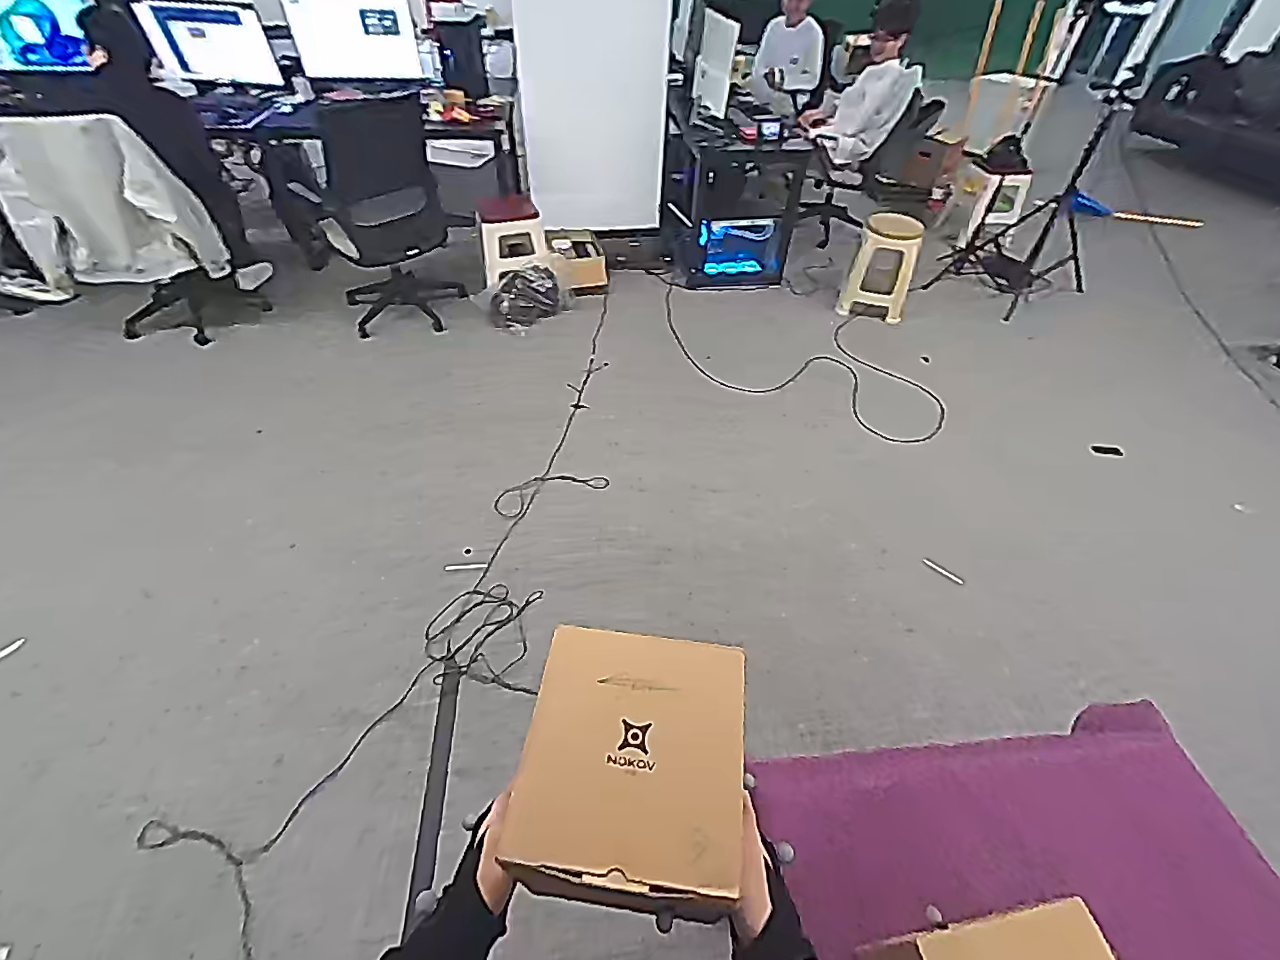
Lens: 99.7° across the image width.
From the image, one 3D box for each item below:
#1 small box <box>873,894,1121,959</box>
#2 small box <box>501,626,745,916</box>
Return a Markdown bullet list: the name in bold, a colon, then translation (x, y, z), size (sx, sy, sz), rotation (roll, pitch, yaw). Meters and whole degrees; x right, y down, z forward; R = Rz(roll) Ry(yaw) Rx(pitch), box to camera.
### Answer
- **small box**: translation (0.342, 0.511, 0.499), size (0.179, 0.176, 0.168), rotation (-5, 47, -9)
- **small box**: translation (-0.003, 0.252, 0.467), size (0.168, 0.176, 0.179), rotation (6, 47, 4)
